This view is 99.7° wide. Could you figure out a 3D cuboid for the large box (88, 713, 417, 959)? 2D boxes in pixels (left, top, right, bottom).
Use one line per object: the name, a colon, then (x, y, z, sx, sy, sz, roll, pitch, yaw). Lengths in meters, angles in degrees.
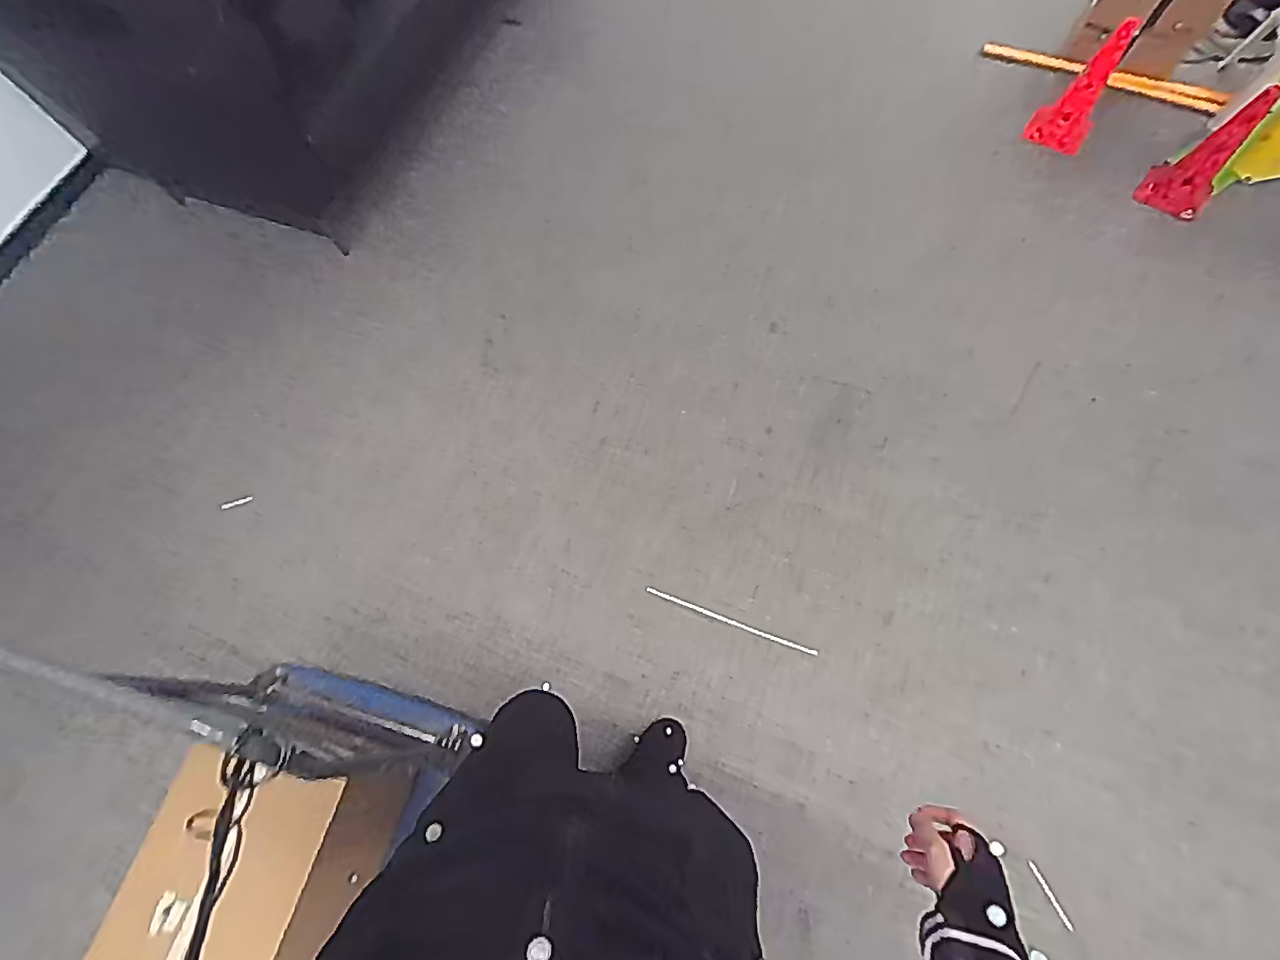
large box: (-0.711, 0.717, 1.069, 0.320, 0.320, 0.408, 14, 71, 9)
